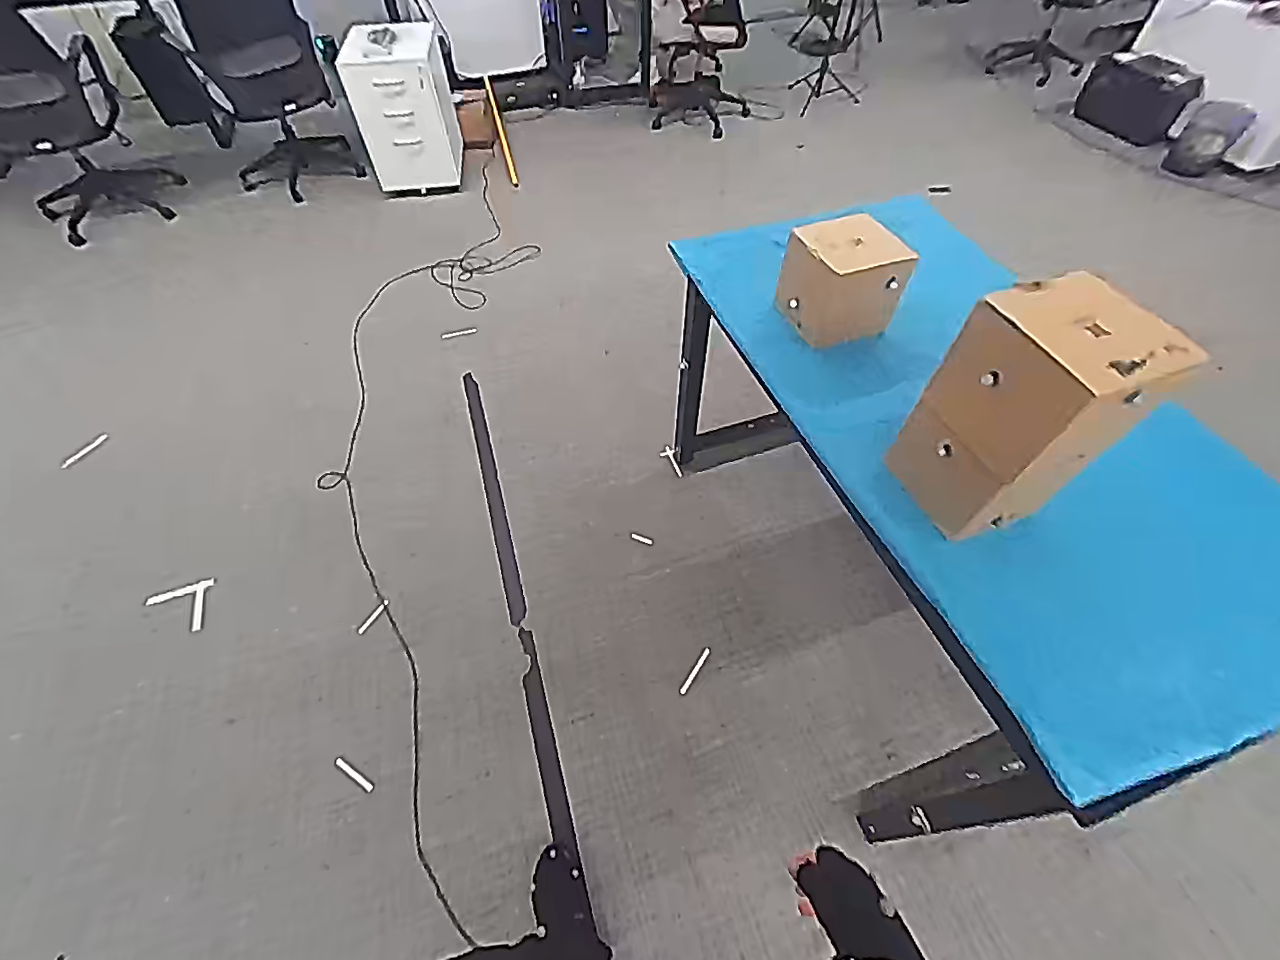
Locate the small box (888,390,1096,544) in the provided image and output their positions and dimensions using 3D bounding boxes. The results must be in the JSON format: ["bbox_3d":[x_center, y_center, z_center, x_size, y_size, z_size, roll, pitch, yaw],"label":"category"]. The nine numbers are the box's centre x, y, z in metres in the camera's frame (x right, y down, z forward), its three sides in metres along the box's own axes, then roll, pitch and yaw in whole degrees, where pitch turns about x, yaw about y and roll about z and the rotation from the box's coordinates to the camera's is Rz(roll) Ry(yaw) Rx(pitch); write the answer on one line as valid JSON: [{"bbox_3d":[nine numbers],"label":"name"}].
[{"bbox_3d":[0.509,-0.033,0.809,0.168,0.176,0.179,-17,56,-11],"label":"small box"}]

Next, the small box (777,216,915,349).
[{"bbox_3d":[0.393,-0.385,1.065,0.179,0.176,0.168,-16,54,-8],"label":"small box"}]

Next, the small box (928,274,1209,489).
[{"bbox_3d":[0.504,-0.120,0.672,0.168,0.176,0.179,-20,57,-13],"label":"small box"}]
